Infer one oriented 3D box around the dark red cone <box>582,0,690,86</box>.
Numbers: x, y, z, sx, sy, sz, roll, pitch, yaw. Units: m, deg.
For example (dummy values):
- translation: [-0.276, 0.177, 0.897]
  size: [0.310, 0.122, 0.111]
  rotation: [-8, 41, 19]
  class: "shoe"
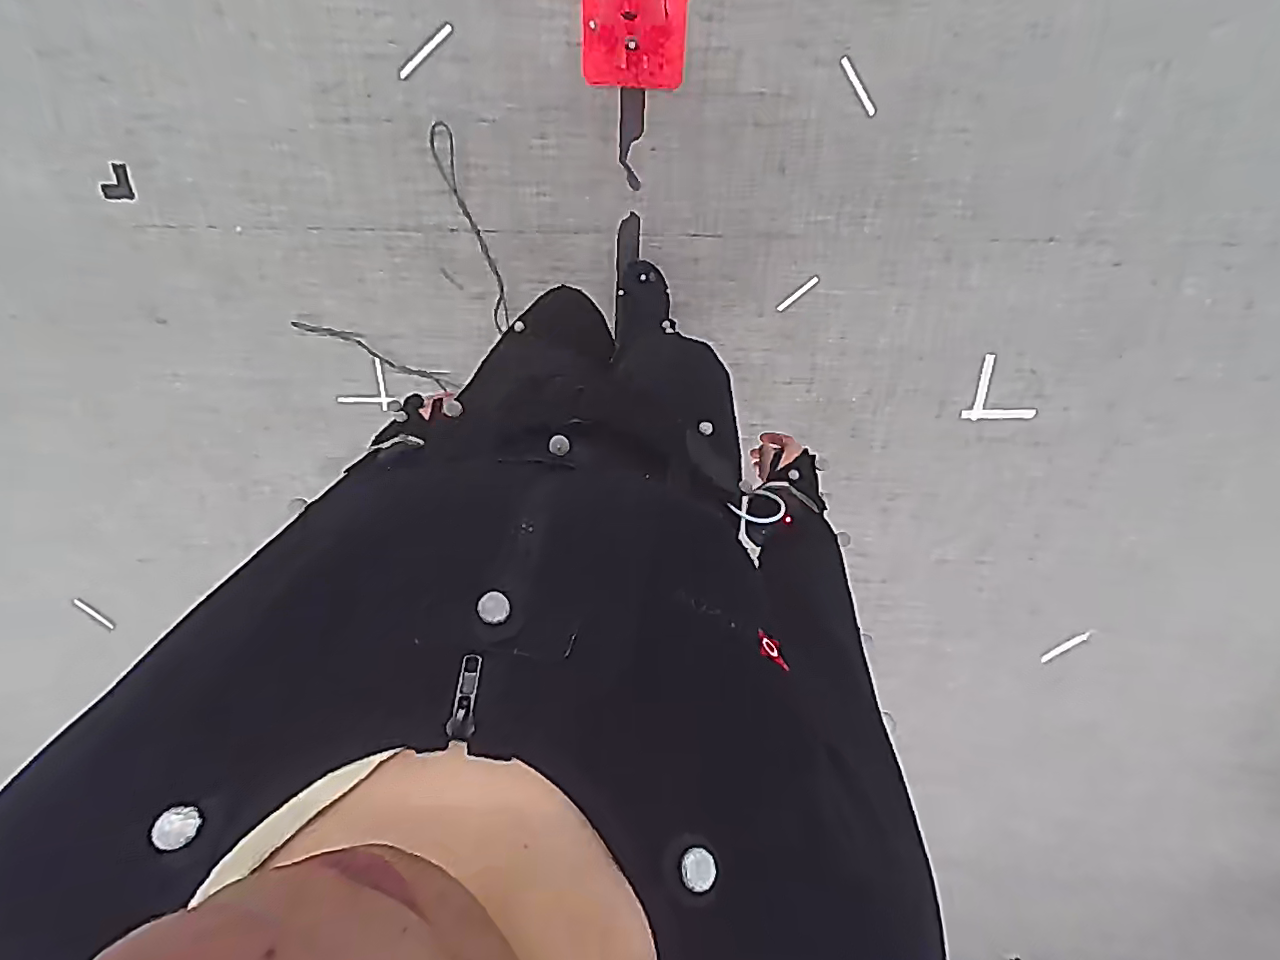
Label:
- translation: [-0.016, -0.792, 0.857]
  size: [0.201, 0.394, 0.202]
  rotation: [2, 114, 2]
  class: "dark red cone"
